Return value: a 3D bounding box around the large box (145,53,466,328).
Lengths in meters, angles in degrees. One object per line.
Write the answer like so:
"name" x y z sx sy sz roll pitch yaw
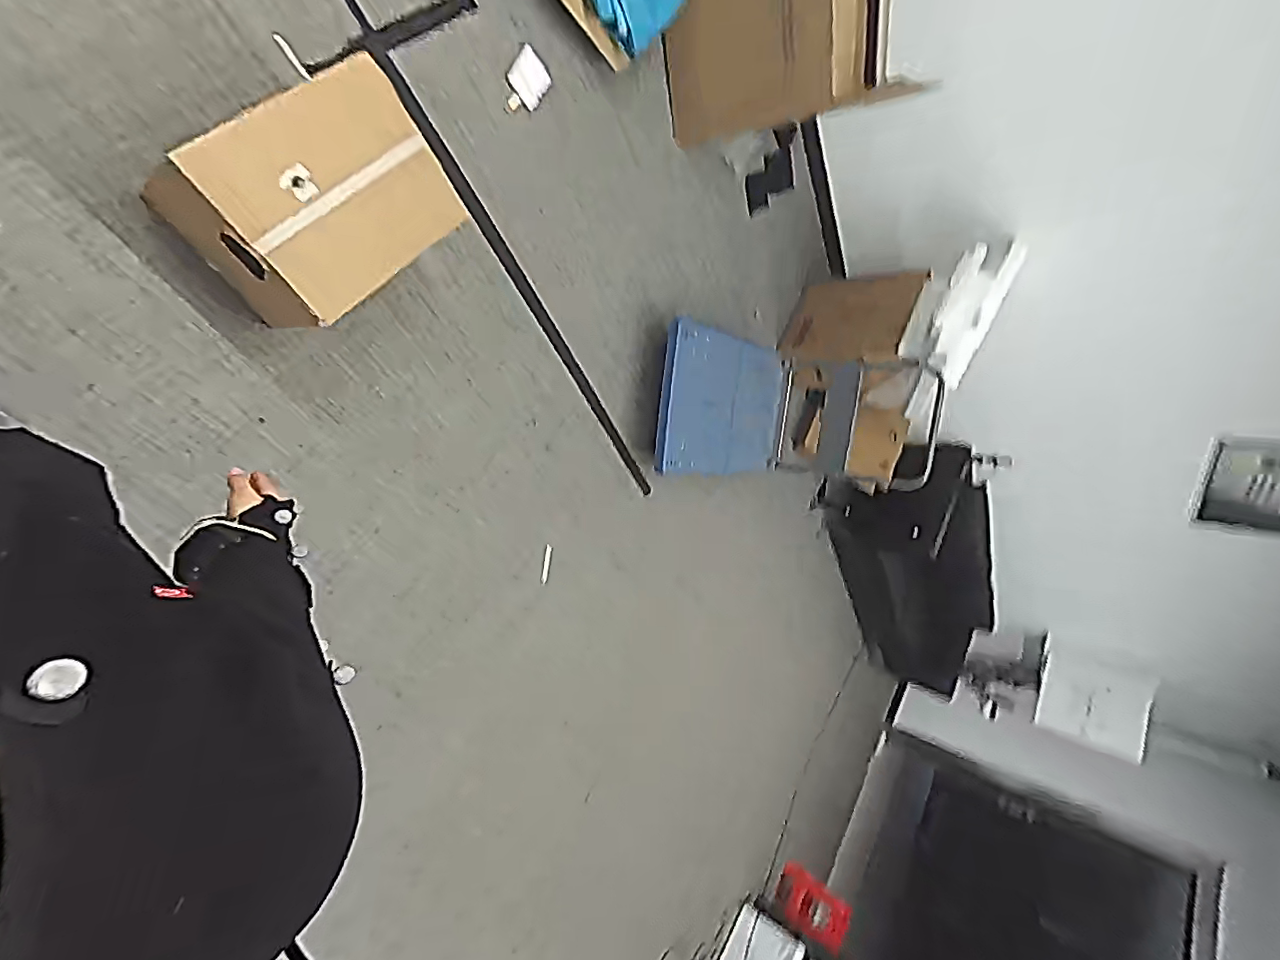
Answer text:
"large box" -0.645 -0.552 1.081 0.408 0.320 0.320 -53 134 -25
